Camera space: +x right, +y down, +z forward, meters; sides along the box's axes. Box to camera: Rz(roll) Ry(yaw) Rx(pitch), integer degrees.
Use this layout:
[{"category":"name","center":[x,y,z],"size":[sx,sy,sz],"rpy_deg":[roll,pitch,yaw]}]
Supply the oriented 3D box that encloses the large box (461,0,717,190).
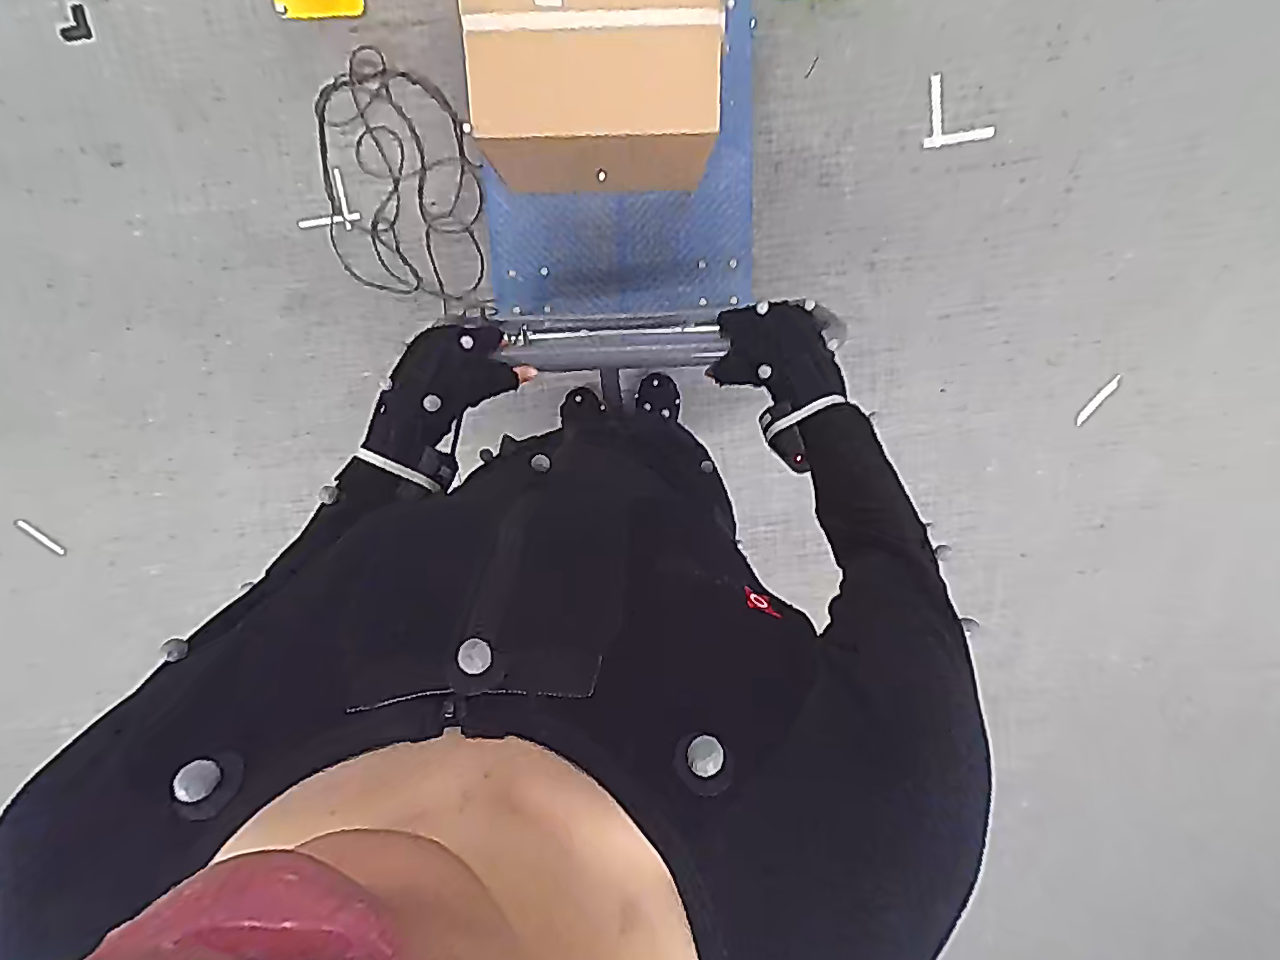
[{"category":"large box","center":[-0.079,-0.745,0.992],"size":[0.408,0.320,0.320],"rpy_deg":[-2,103,0]}]
